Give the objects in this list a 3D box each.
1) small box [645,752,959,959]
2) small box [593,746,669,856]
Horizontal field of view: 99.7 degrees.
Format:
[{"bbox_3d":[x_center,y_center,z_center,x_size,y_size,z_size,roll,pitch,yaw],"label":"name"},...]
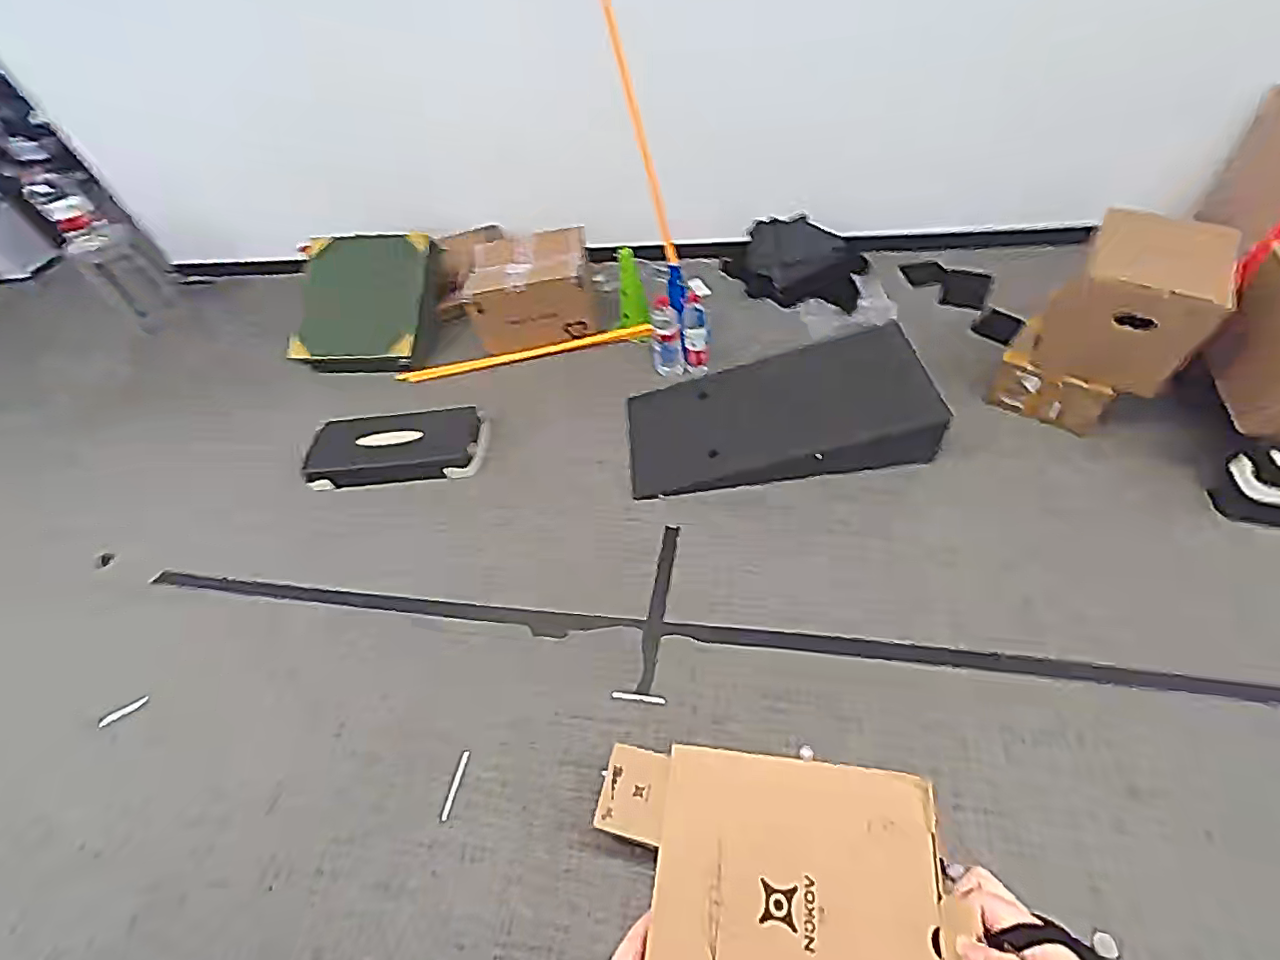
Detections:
[{"bbox_3d":[0.118,0.302,0.375,0.179,0.176,0.168,-6,54,25],"label":"small box"},{"bbox_3d":[0.017,0.705,1.176,0.179,0.176,0.168,9,54,15],"label":"small box"}]
